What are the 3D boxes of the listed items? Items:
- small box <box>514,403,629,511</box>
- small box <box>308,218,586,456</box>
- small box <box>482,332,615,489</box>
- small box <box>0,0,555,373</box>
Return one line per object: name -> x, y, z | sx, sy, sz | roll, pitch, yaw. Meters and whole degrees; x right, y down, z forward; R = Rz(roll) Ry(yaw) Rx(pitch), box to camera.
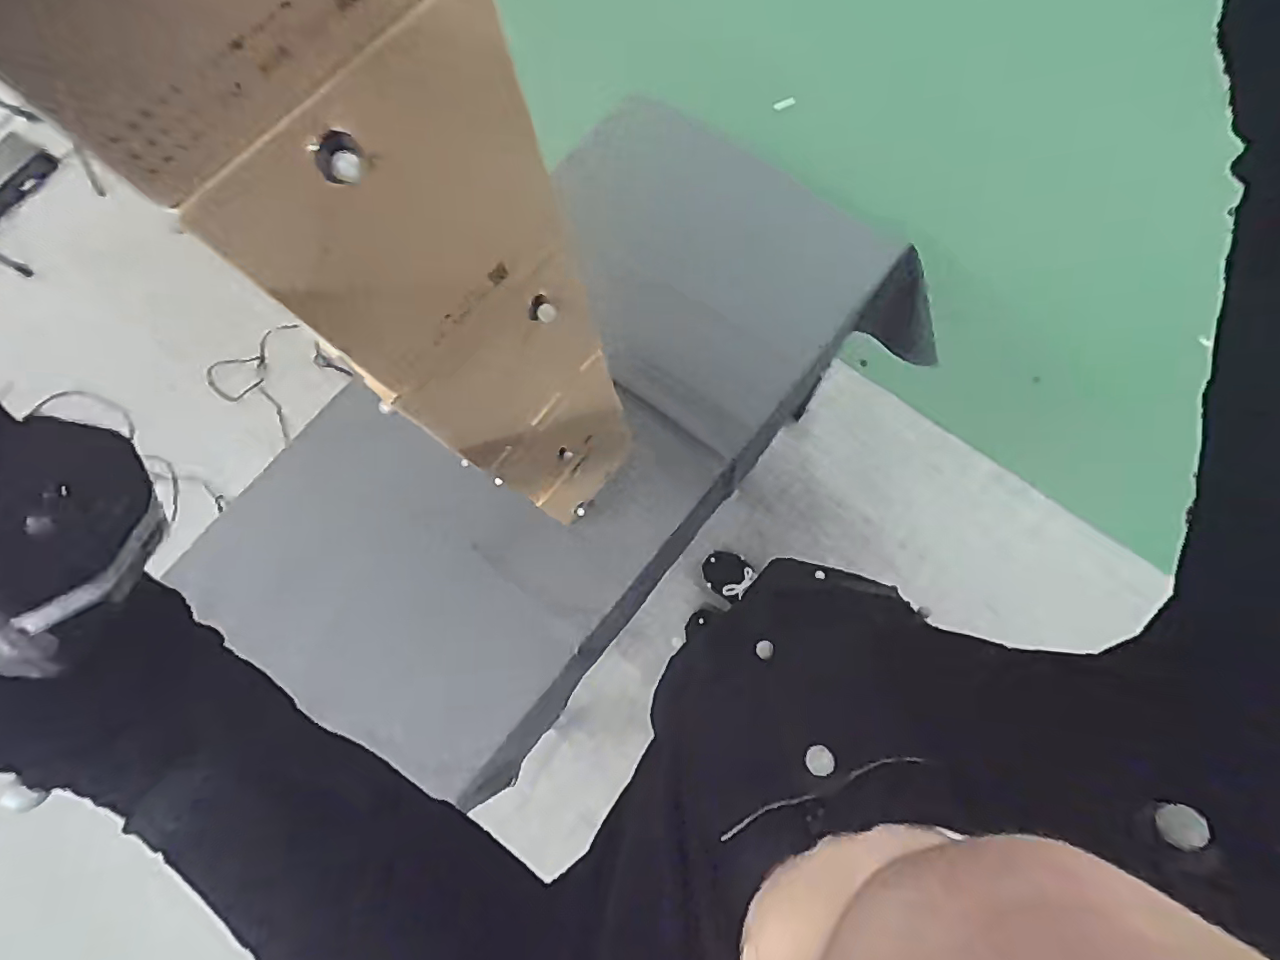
small box -> -0.135, -0.070, 0.790 | 0.179, 0.176, 0.168 | 37, 82, 15
small box -> -0.165, -0.150, 0.474 | 0.168, 0.176, 0.179 | 39, 83, 14
small box -> -0.151, -0.110, 0.633 | 0.179, 0.176, 0.168 | 38, 82, 13
small box -> -0.179, -0.194, 0.318 | 0.179, 0.176, 0.168 | 41, 83, 14
